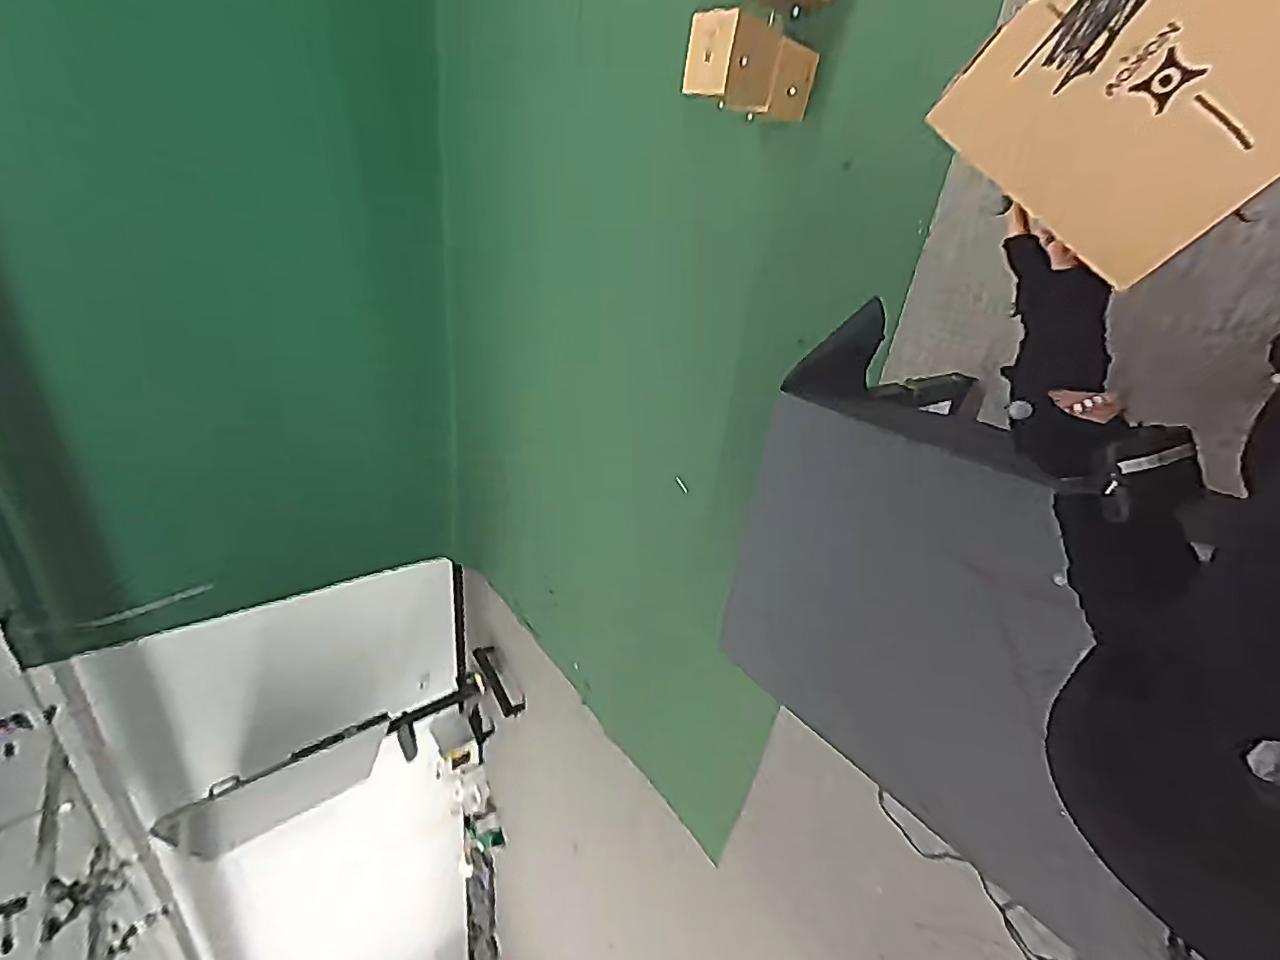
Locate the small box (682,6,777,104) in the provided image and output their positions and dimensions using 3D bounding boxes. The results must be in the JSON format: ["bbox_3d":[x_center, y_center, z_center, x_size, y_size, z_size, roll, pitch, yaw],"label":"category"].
[{"bbox_3d":[0.240,-1.126,1.447,0.168,0.176,0.179,37,128,39],"label":"small box"}]

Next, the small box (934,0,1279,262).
[{"bbox_3d":[0.338,-0.263,0.353,0.179,0.176,0.168,53,133,12],"label":"small box"}]

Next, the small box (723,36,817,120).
[{"bbox_3d":[0.372,-1.145,1.544,0.179,0.176,0.168,38,129,39],"label":"small box"}]
